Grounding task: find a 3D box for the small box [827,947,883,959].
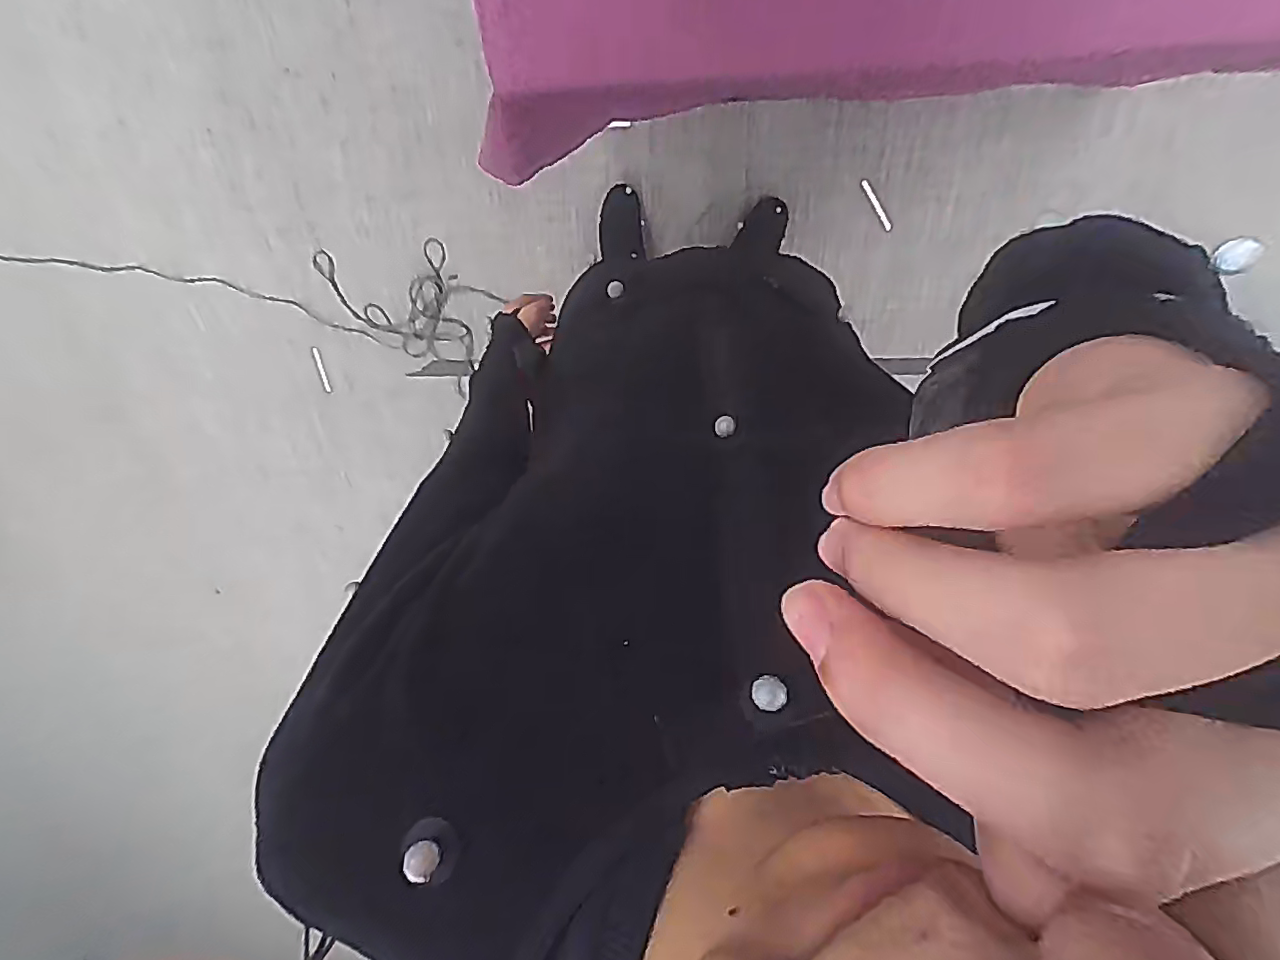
[{"bbox_3d":[0.708,1.653,1.748,0.168,0.176,0.179,3,122,1],"label":"small box"}]
